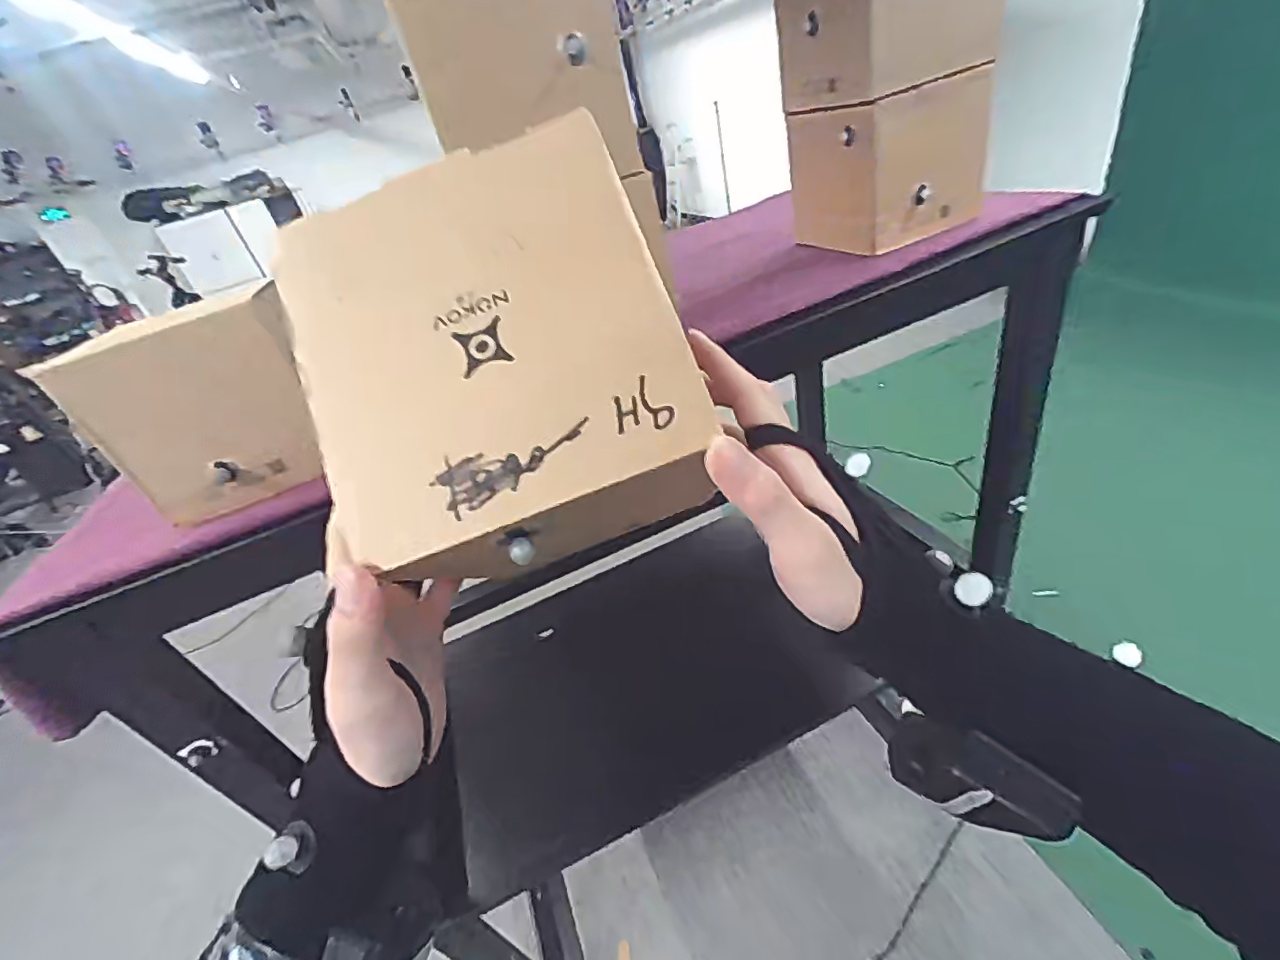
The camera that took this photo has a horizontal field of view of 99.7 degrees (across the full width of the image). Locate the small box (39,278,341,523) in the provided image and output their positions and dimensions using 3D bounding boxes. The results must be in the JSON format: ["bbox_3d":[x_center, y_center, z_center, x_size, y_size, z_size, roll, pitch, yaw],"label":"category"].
[{"bbox_3d":[-0.406,-0.085,0.546,0.168,0.176,0.179,-25,34,-11],"label":"small box"}]

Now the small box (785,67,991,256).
[{"bbox_3d":[0.310,-0.406,0.705,0.168,0.176,0.179,-23,35,-9],"label":"small box"}]

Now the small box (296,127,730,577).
[{"bbox_3d":[-0.057,-0.049,0.322,0.168,0.176,0.179,-21,78,3],"label":"small box"}]

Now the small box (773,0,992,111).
[{"bbox_3d":[0.268,-0.531,0.606,0.179,0.176,0.168,-23,35,-9],"label":"small box"}]
